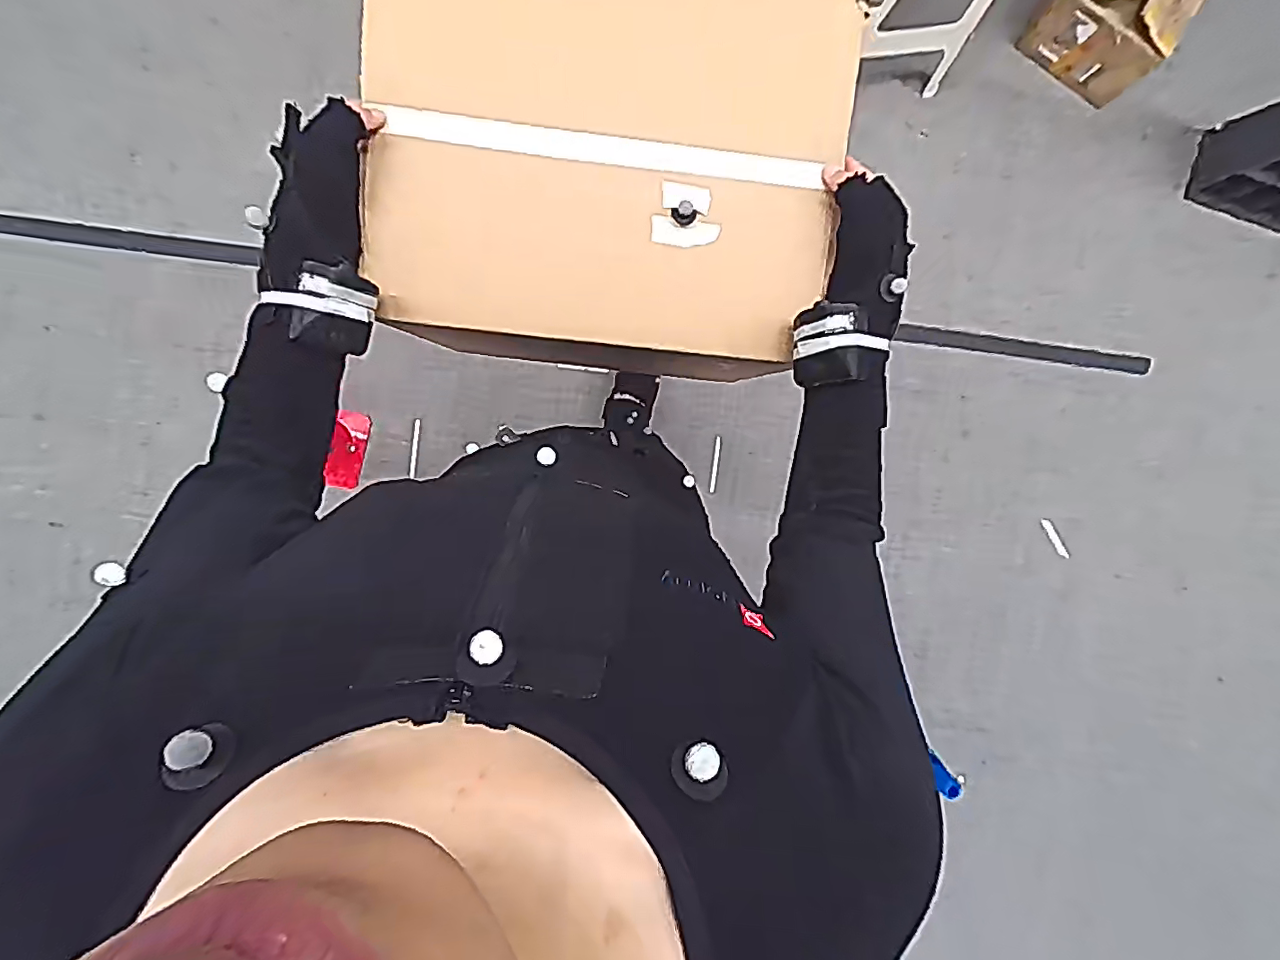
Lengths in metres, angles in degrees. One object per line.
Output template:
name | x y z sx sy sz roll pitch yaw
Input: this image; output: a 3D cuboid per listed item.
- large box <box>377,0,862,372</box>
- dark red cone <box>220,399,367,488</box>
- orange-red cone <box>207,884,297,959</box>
large box | -0.031 -0.303 0.609 0.408 0.320 0.320 5 97 -5
dark red cone | -0.790 -0.087 1.207 0.201 0.394 0.202 12 92 -5
orange-red cone | -1.012 1.193 1.276 0.198 0.360 0.199 4 94 -3
